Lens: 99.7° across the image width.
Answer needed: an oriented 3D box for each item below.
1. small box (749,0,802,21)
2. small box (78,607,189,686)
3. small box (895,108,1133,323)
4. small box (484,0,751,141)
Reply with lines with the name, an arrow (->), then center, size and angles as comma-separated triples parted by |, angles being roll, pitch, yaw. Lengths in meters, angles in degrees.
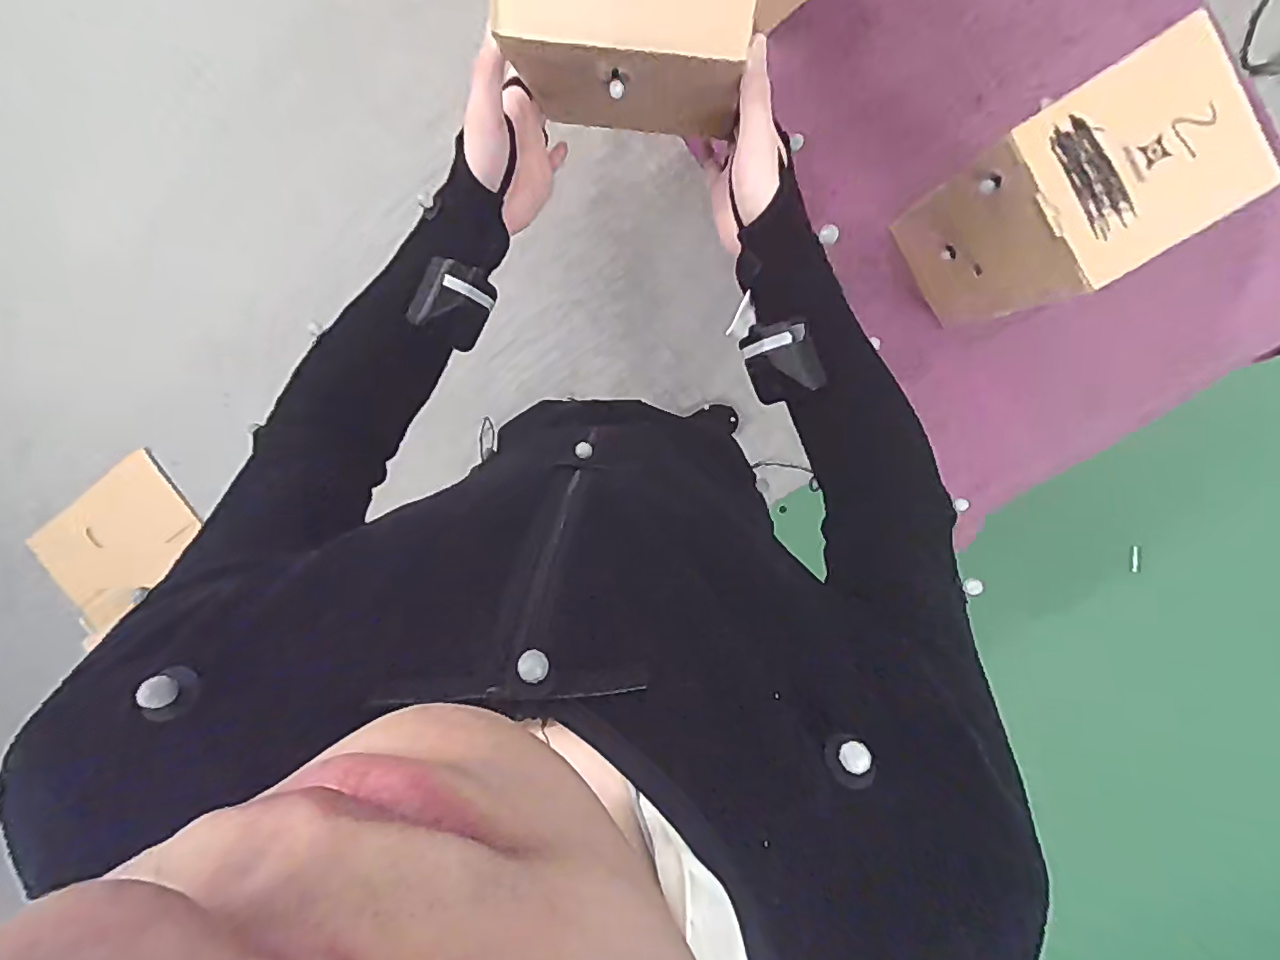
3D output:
small box -> 0.187, -0.735, 0.675 | 0.168, 0.176, 0.179 | -36, 95, 10
small box -> -1.670, 0.541, 1.792 | 0.168, 0.176, 0.179 | -24, 97, 9
small box -> 0.476, -0.331, 0.720 | 0.168, 0.176, 0.179 | -31, 96, 10
small box -> -0.002, -0.383, 0.414 | 0.179, 0.176, 0.168 | 8, 107, 3
